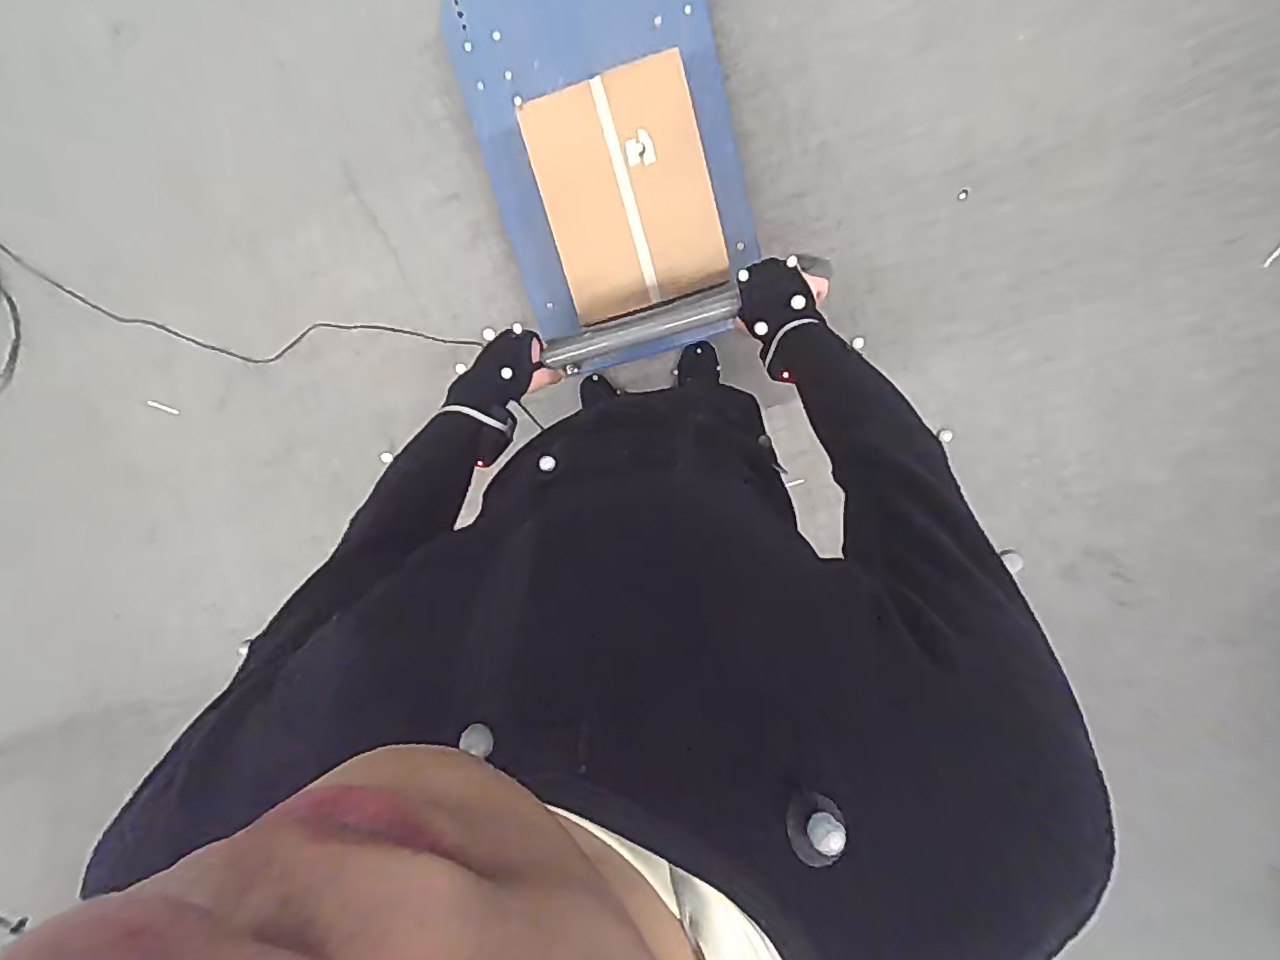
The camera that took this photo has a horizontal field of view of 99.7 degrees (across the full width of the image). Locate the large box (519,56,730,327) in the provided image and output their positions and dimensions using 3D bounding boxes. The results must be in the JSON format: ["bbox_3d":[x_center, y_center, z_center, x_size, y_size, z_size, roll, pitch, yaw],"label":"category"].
[{"bbox_3d":[-0.014,-0.574,1.172,0.320,0.320,0.408,-15,104,7],"label":"large box"}]
